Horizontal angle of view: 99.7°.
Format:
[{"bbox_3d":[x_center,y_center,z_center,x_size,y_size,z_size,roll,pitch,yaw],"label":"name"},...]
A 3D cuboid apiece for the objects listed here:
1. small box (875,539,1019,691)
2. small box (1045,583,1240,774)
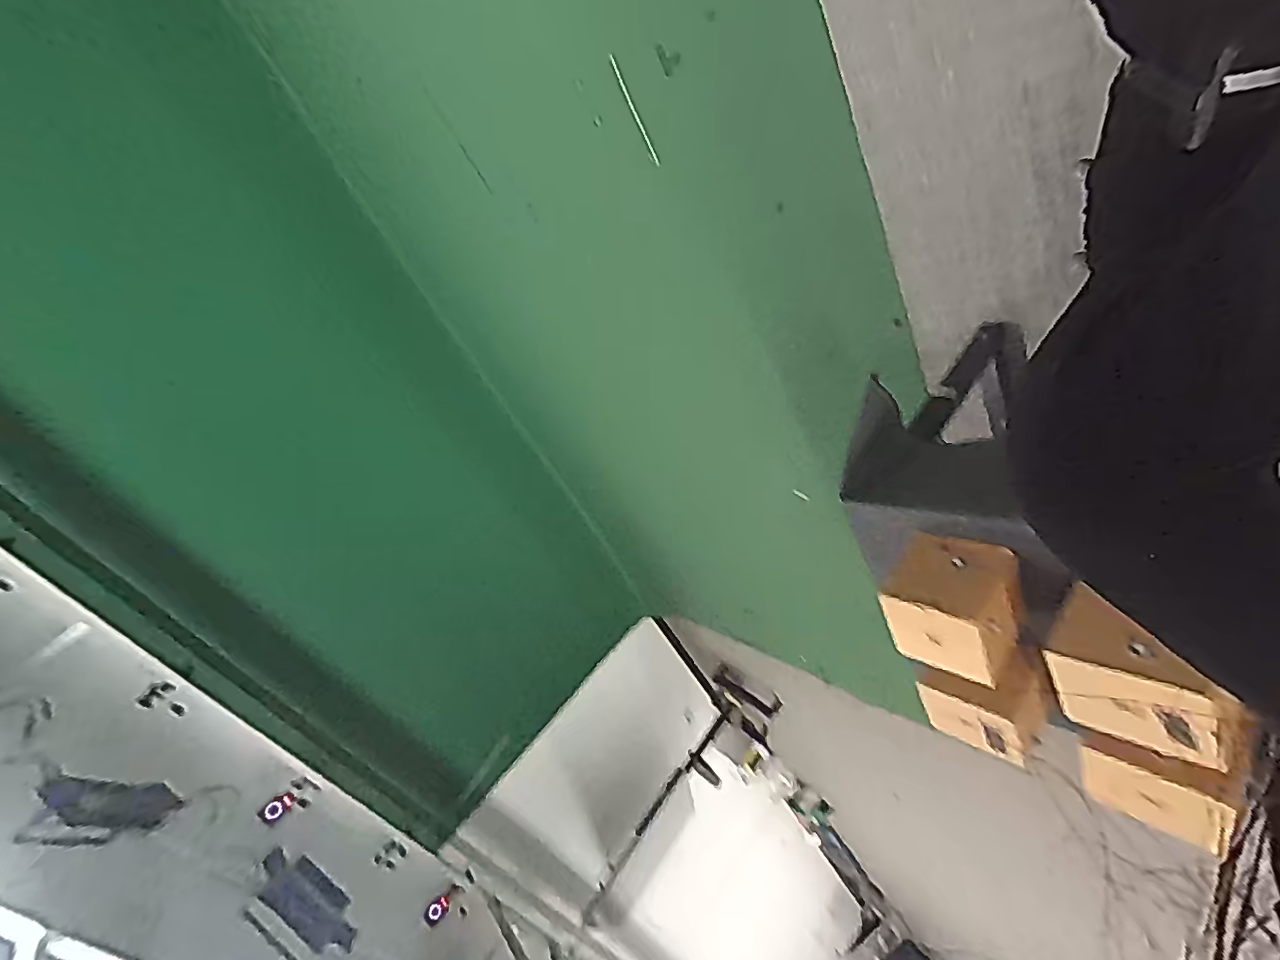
[{"bbox_3d":[0.560,0.235,0.978,0.168,0.176,0.179,10,137,50],"label":"small box"},{"bbox_3d":[0.727,0.270,0.779,0.179,0.176,0.168,4,132,55],"label":"small box"}]
